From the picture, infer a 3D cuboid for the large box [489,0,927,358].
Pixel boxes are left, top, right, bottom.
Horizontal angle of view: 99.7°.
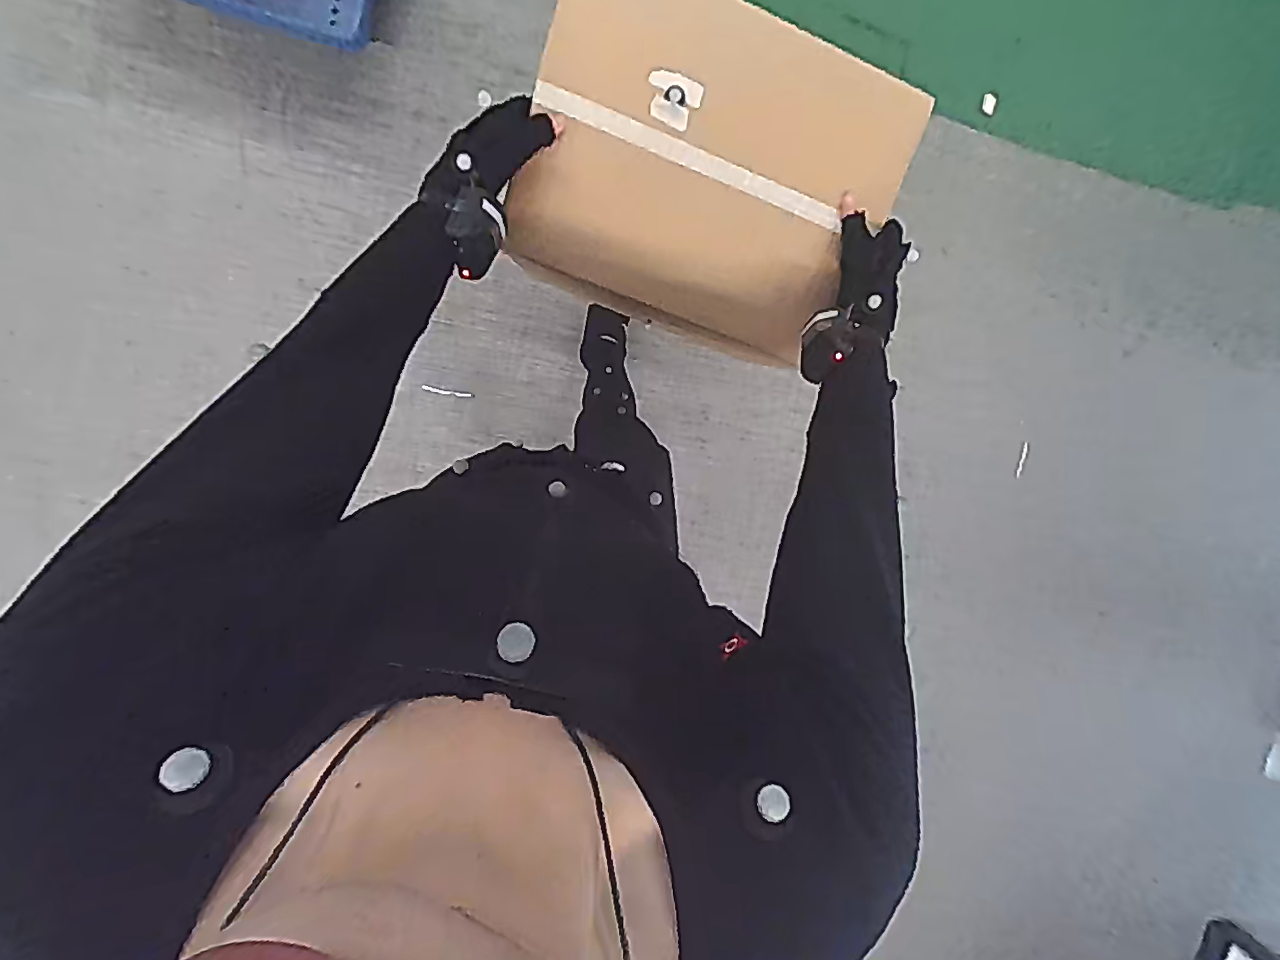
[{"bbox_3d":[0.063,-0.375,0.719,0.408,0.320,0.320,18,102,-8],"label":"large box"}]
